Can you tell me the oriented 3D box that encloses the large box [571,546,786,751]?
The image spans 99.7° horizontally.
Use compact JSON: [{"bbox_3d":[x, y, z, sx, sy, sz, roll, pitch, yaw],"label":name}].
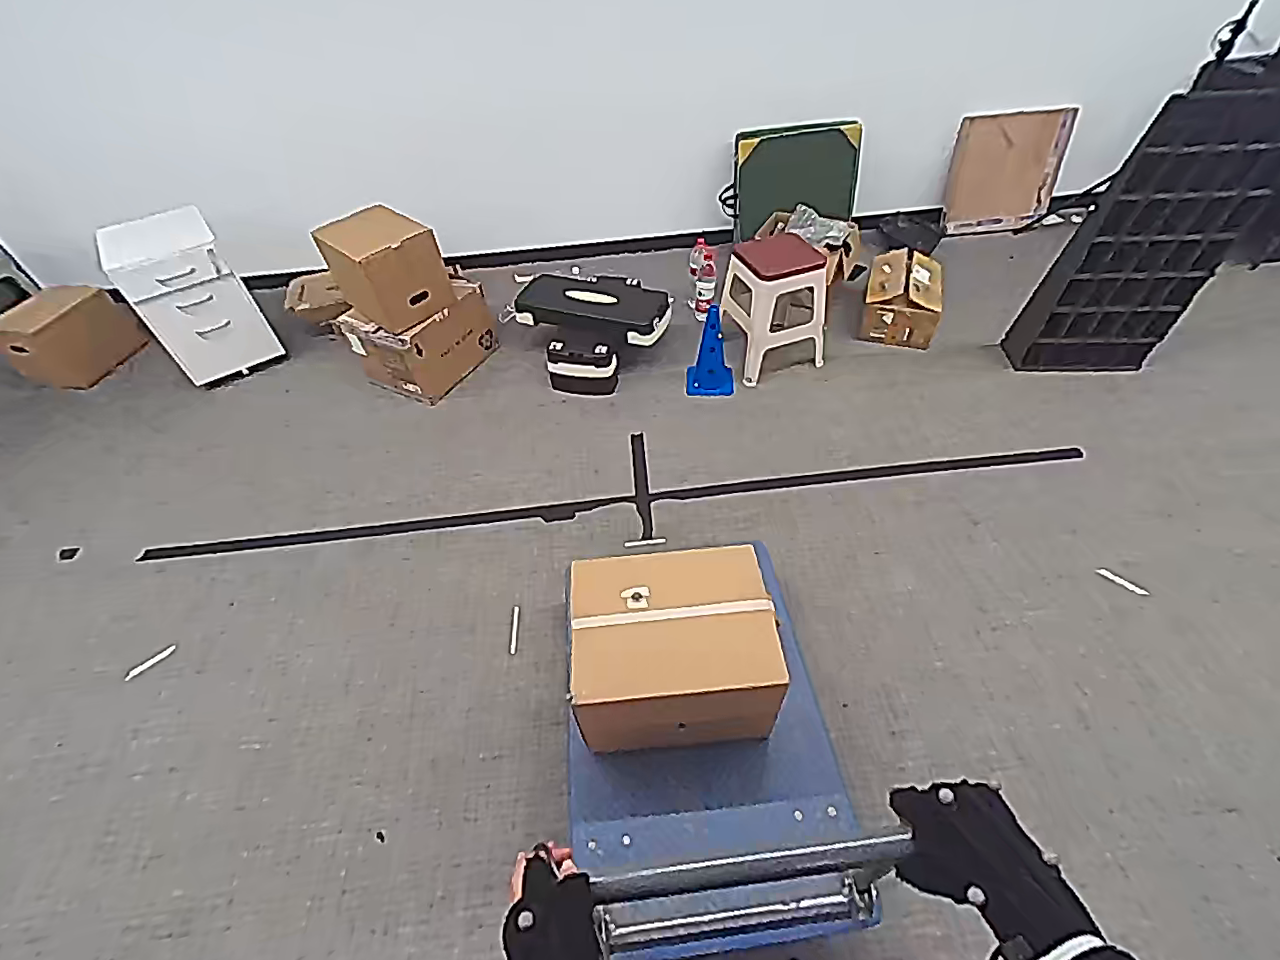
[{"bbox_3d":[0.072,0.379,1.203,0.408,0.320,0.320,-6,48,0],"label":"large box"}]
